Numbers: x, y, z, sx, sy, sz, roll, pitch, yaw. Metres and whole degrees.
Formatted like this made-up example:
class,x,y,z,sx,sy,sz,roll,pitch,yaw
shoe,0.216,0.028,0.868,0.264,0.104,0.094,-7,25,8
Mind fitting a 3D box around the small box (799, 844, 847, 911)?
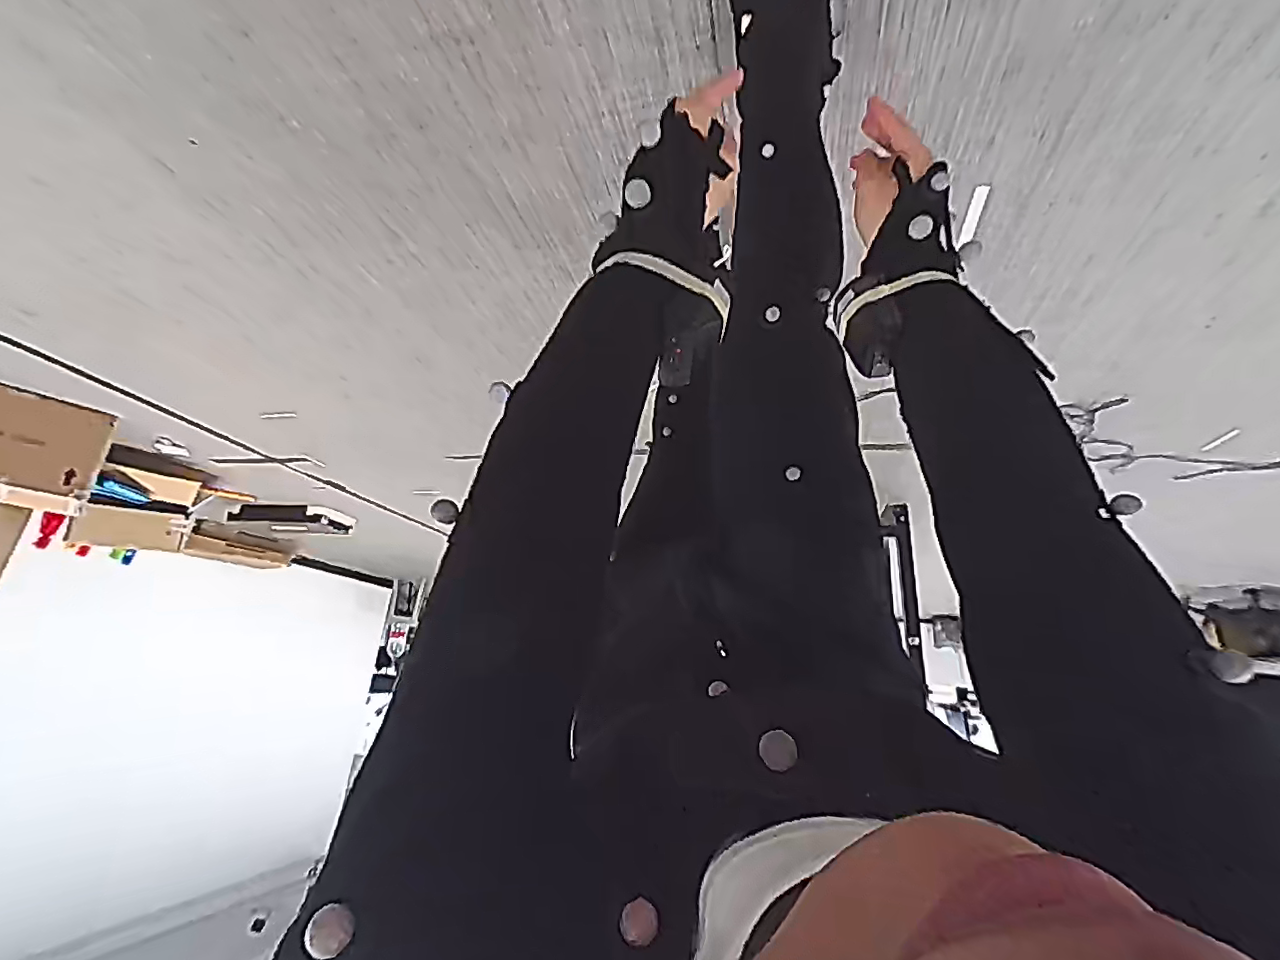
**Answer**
class,x,y,z,sx,sy,sz,roll,pitch,yaw
small box,0.732,1.591,2.177,0.168,0.176,0.179,1,160,14
